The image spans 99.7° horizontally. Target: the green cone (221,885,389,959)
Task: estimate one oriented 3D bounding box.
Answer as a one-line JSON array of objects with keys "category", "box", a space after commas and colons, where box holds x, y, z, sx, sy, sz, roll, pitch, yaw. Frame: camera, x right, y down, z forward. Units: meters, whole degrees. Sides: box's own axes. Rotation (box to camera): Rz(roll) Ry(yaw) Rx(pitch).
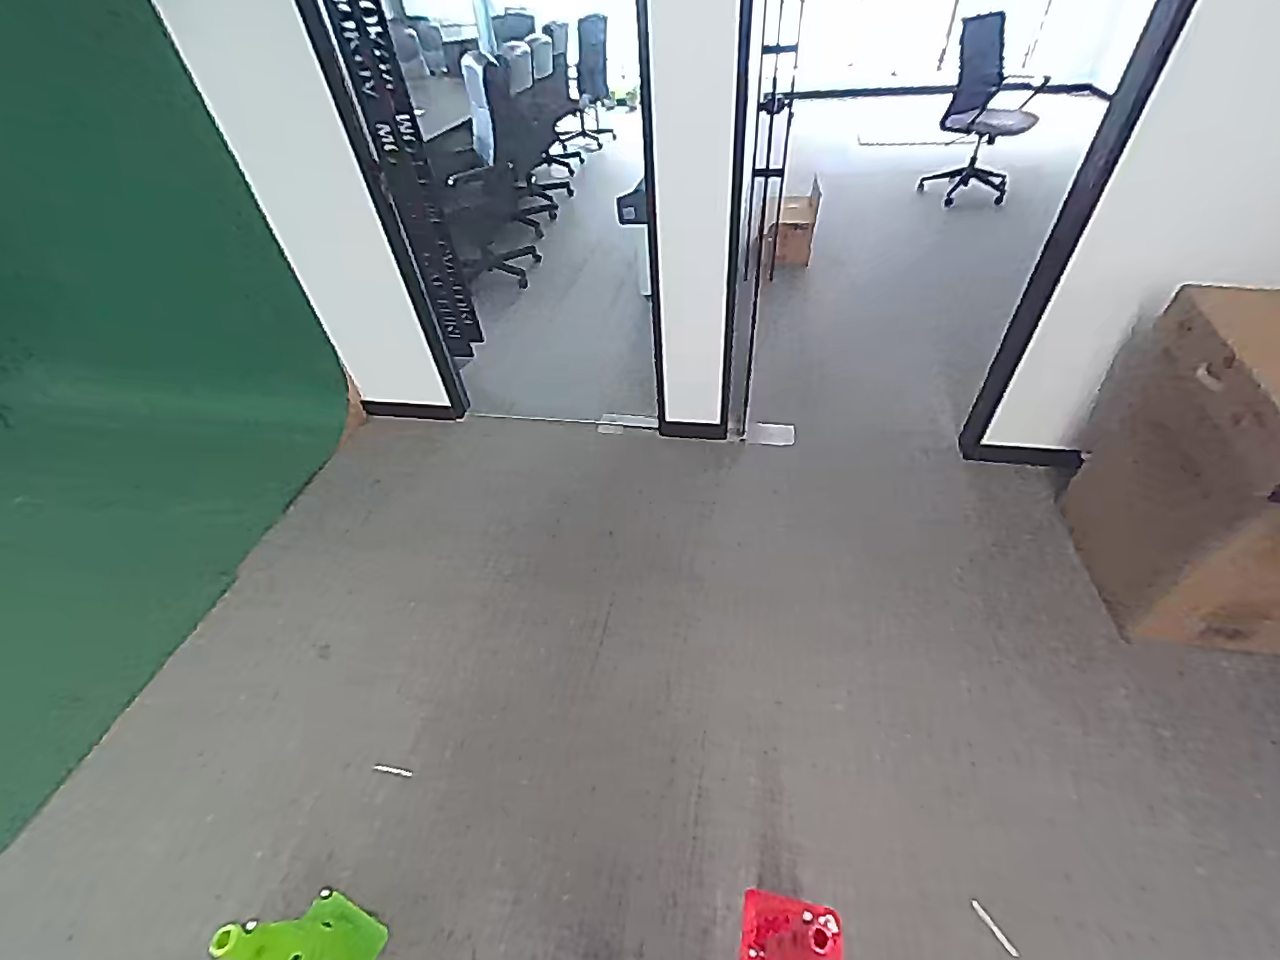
[{"category": "green cone", "box": [-0.675, 0.884, 1.024, 0.202, 0.368, 0.200, 15, 47, 20]}]
